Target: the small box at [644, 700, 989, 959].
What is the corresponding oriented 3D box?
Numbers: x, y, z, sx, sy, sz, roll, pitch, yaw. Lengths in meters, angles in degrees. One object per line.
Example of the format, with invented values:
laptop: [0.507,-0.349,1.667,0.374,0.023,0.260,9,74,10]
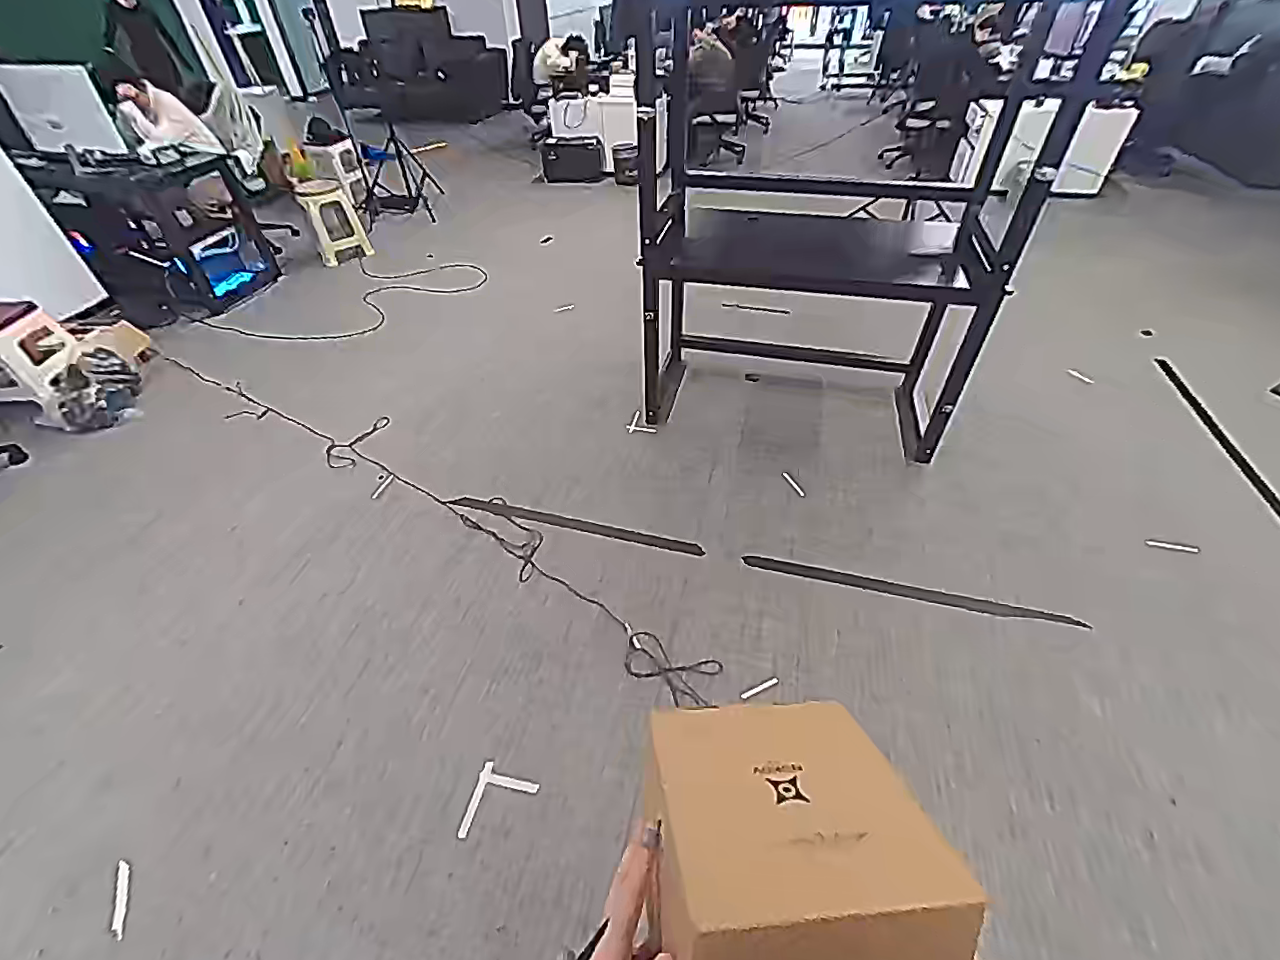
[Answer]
small box: [0.095,0.283,0.381,0.168,0.176,0.179,0,14,-7]
